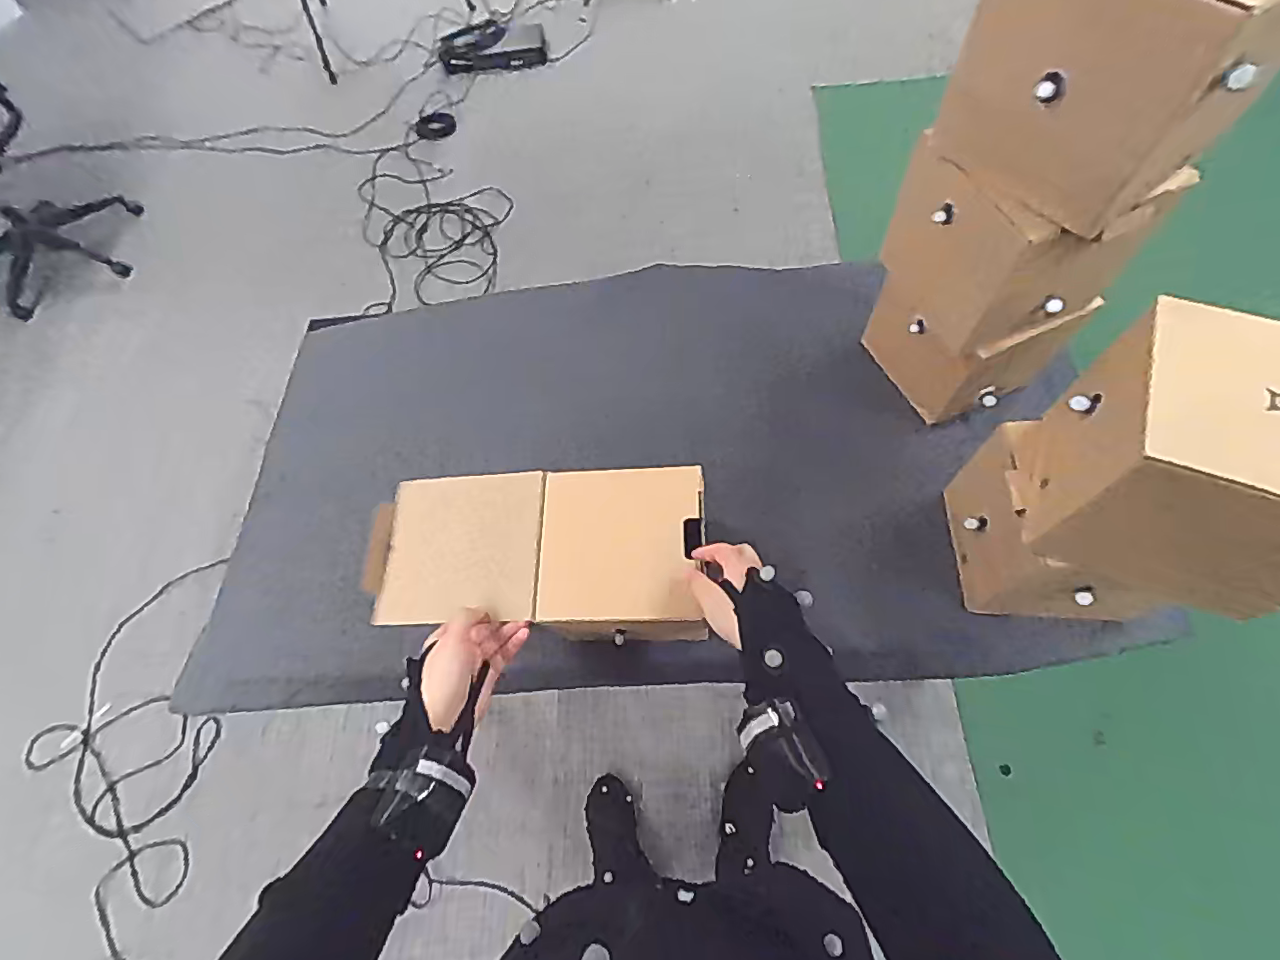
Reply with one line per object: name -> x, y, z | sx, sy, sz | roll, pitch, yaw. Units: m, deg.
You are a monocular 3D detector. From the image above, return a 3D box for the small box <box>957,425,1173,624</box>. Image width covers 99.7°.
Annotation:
small box -> 0.474, 0.054, 0.594 | 0.179, 0.176, 0.168 | 1, 62, 8

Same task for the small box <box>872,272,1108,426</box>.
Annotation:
small box -> 0.441, -0.204, 0.722 | 0.168, 0.176, 0.179 | -25, 66, -2

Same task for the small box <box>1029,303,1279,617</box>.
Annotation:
small box -> 0.461, -0.008, 0.442 | 0.179, 0.176, 0.168 | 22, 66, 16

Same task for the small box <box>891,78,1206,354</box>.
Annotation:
small box -> 0.400, -0.269, 0.575 | 0.168, 0.176, 0.179 | -21, 65, 0
